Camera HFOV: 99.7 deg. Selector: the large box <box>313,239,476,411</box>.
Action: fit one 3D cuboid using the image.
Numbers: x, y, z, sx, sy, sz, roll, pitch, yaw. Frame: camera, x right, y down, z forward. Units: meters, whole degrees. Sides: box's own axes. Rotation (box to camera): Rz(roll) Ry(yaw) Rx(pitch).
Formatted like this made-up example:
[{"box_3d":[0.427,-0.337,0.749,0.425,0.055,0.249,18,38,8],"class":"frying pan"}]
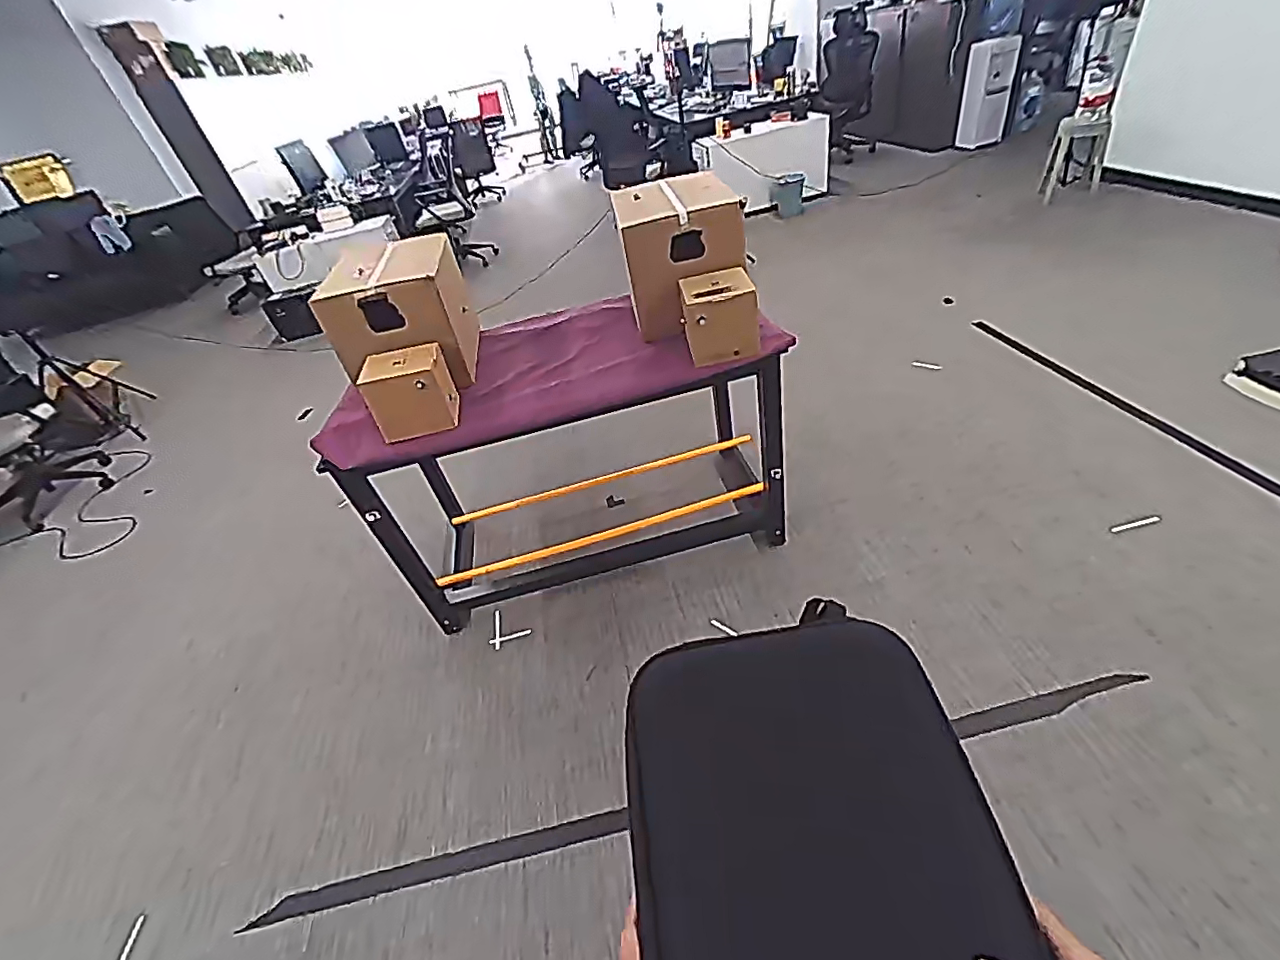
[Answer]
[{"box_3d":[-0.675,-0.458,1.569,0.320,0.320,0.408,-14,42,-3],"class":"large box"}]
